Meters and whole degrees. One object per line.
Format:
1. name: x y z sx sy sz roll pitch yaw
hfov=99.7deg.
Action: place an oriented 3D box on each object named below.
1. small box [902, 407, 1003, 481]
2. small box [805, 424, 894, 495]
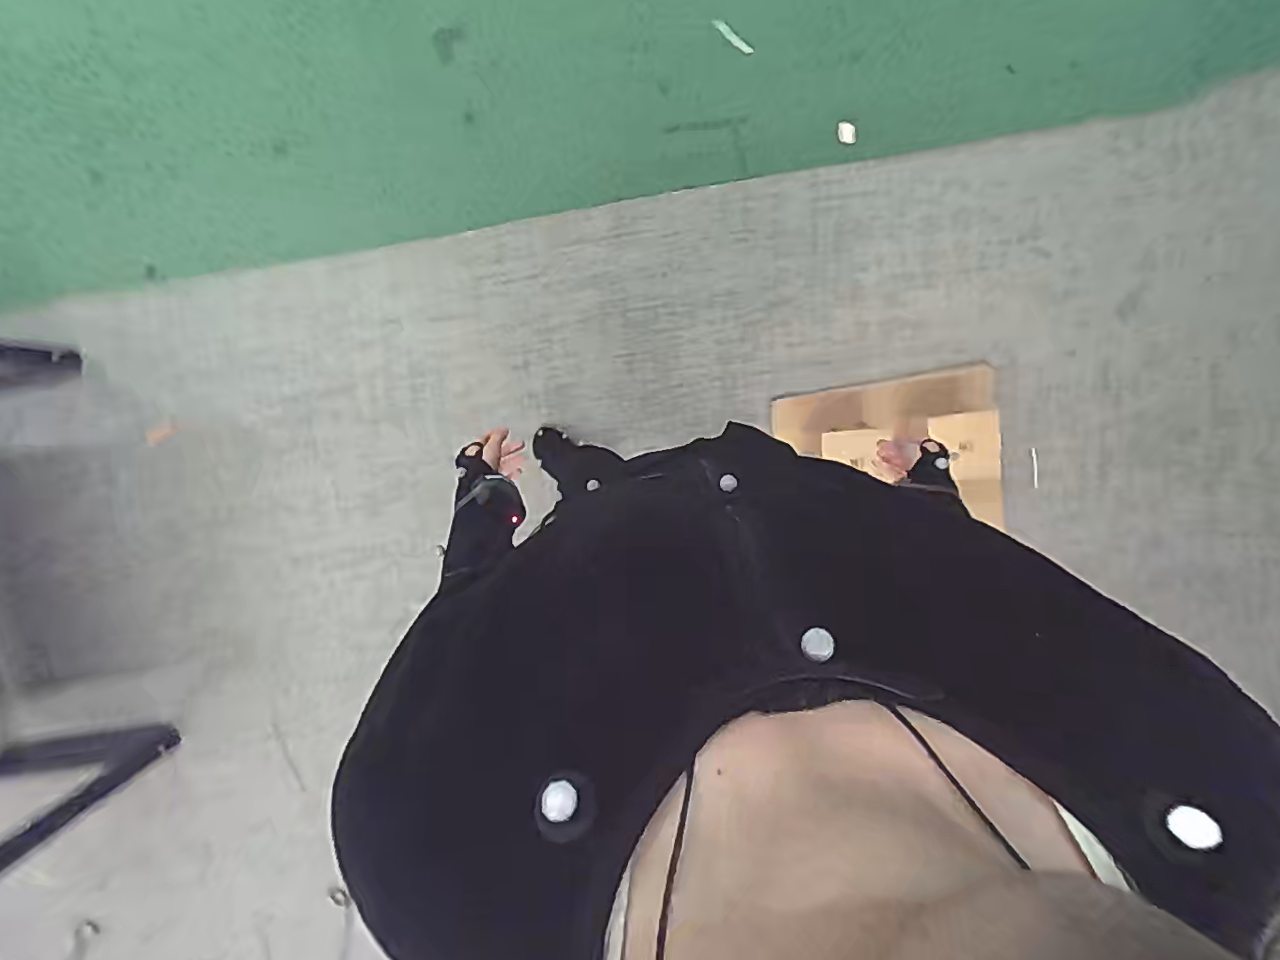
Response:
1. small box: 0.795 -0.096 1.396 0.179 0.176 0.168 -7 98 0
2. small box: 0.533 -0.058 1.400 0.179 0.176 0.168 -3 99 0
